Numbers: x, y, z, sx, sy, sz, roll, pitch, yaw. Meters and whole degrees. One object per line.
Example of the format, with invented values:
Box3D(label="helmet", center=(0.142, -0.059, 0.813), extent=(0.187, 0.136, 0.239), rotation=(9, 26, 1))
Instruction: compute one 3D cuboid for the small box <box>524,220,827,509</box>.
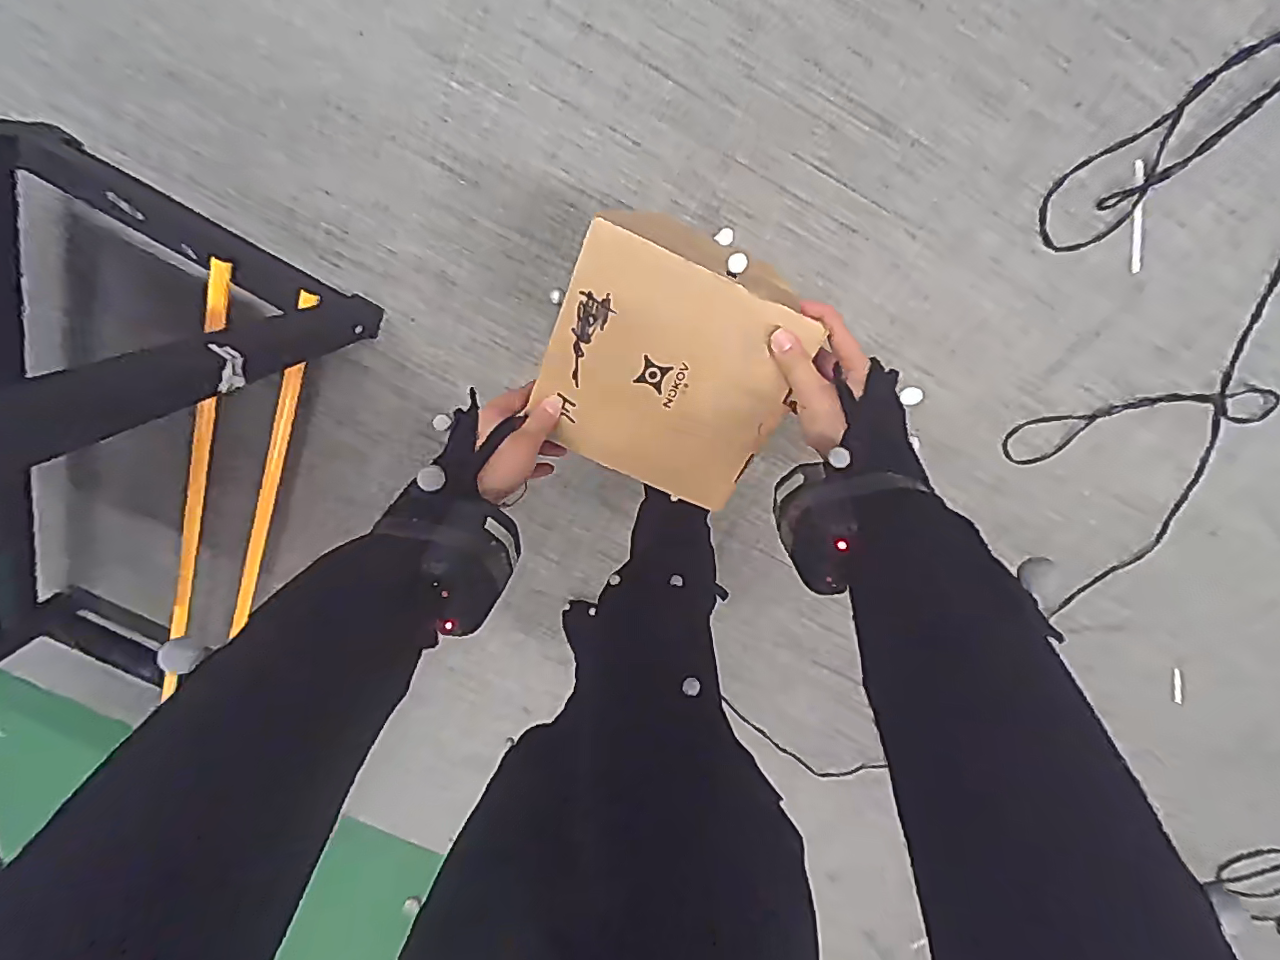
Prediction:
Box3D(label="small box", center=(0.027, -0.109, 0.468), extent=(0.179, 0.176, 0.168), rotation=(24, 116, -6))

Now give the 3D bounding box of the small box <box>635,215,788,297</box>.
Box3D(label="small box", center=(0.047, -0.179, 0.616), extent=(0.168, 0.176, 0.179), rotation=(24, 116, -5))
